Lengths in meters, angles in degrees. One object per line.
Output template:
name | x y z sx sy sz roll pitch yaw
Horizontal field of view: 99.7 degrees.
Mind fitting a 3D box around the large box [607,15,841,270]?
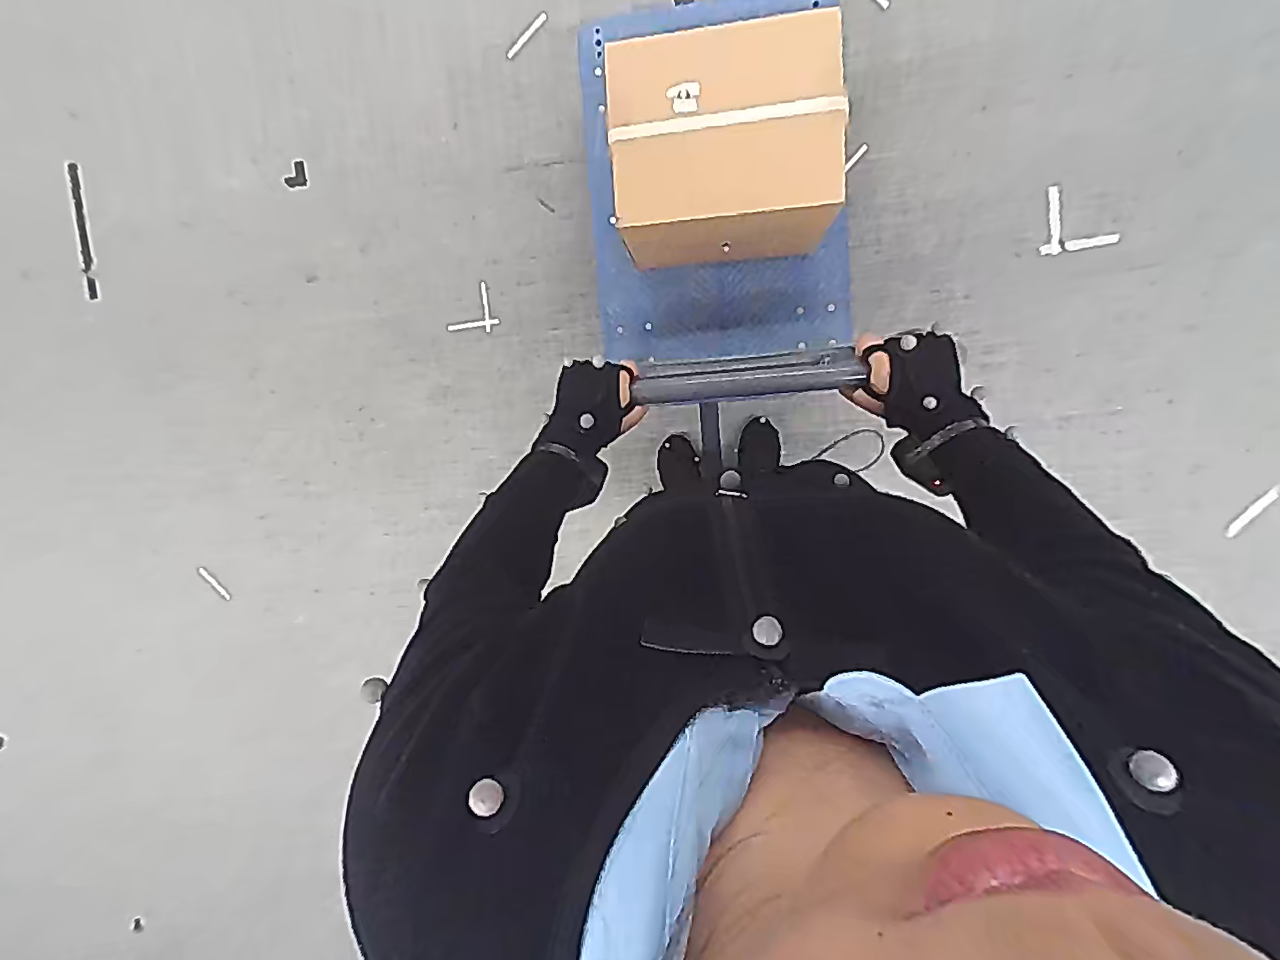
large box | 0.169 -0.647 1.111 0.408 0.320 0.320 -3 96 9
